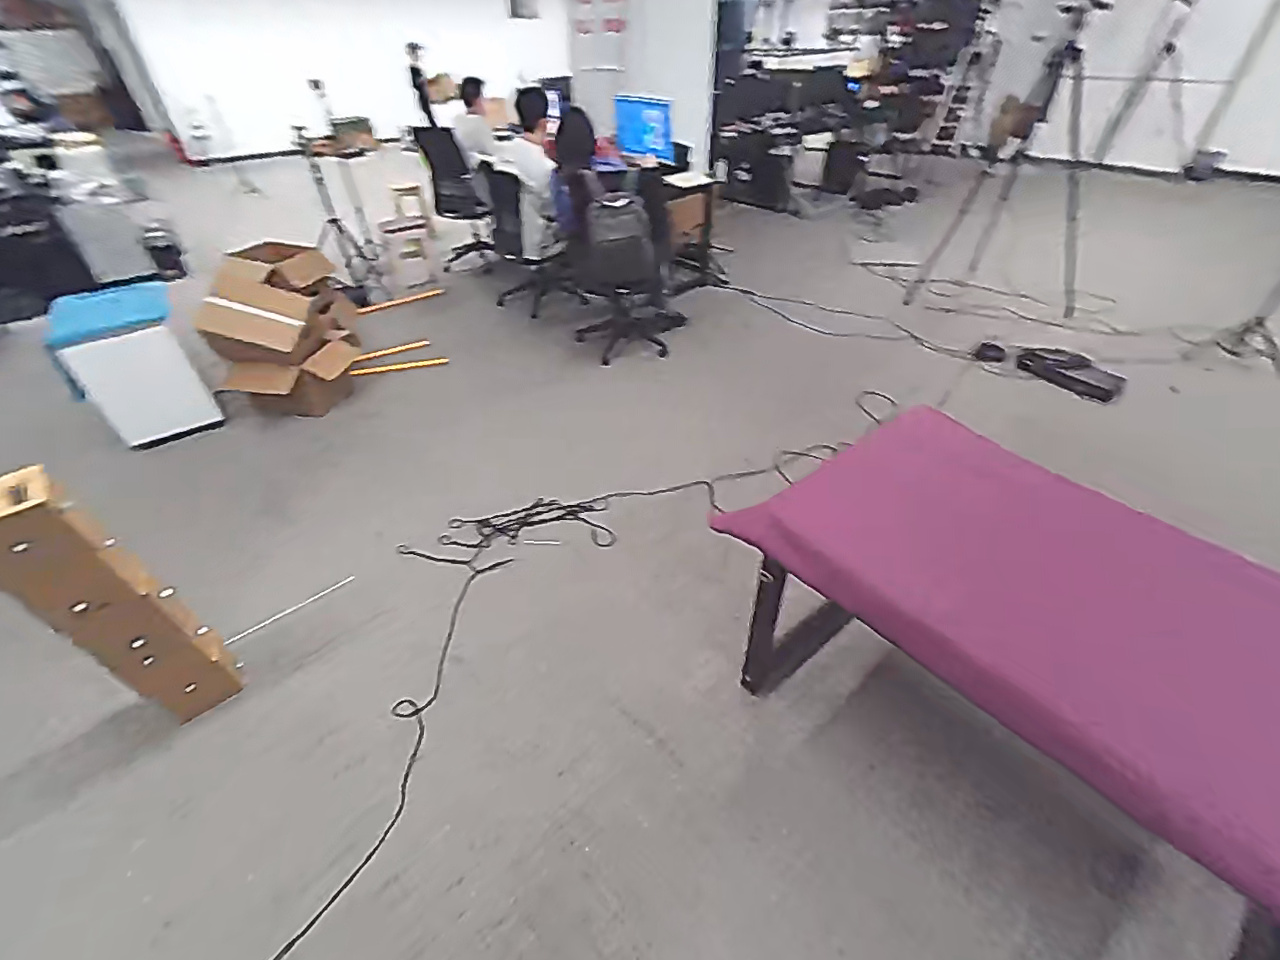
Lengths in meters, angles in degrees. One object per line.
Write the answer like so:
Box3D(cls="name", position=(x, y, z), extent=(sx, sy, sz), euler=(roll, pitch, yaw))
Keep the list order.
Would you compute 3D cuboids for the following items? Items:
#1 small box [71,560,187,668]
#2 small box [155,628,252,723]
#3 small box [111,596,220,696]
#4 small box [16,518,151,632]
Box3D(cls="small box", position=(-1.330, 0.350, 1.415), extent=(0.179, 0.176, 0.168), euler=(-31, 48, -31))
Box3D(cls="small box", position=(-1.323, 0.593, 1.635), extent=(0.179, 0.176, 0.168), euler=(-29, 47, -29))
Box3D(cls="small box", position=(-1.337, 0.471, 1.526), extent=(0.179, 0.176, 0.168), euler=(-30, 48, -29))
Box3D(cls="small box", position=(-1.338, 0.229, 1.306), extent=(0.168, 0.176, 0.179), euler=(-32, 49, -30))
